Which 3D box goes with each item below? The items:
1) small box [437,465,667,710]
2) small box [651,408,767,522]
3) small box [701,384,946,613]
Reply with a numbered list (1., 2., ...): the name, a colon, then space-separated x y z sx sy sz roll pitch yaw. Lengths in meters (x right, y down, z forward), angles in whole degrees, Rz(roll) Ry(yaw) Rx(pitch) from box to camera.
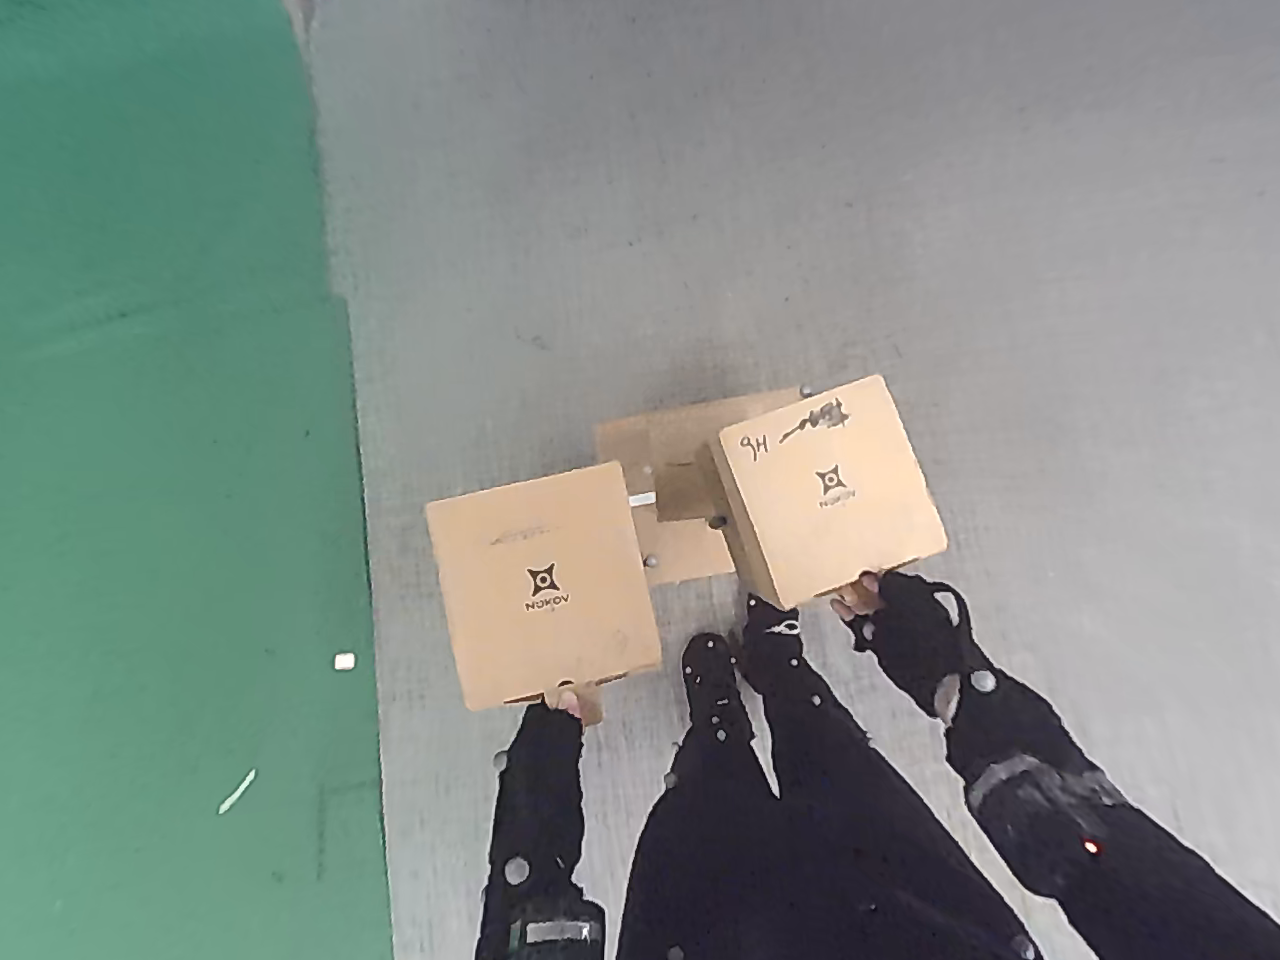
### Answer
1. small box: -0.075 0.093 0.526 0.168 0.176 0.179 -13 85 -4
2. small box: 0.108 -0.019 0.884 0.179 0.176 0.168 -3 86 3
3. small box: 0.177 0.019 0.577 0.168 0.176 0.179 -19 87 -4
